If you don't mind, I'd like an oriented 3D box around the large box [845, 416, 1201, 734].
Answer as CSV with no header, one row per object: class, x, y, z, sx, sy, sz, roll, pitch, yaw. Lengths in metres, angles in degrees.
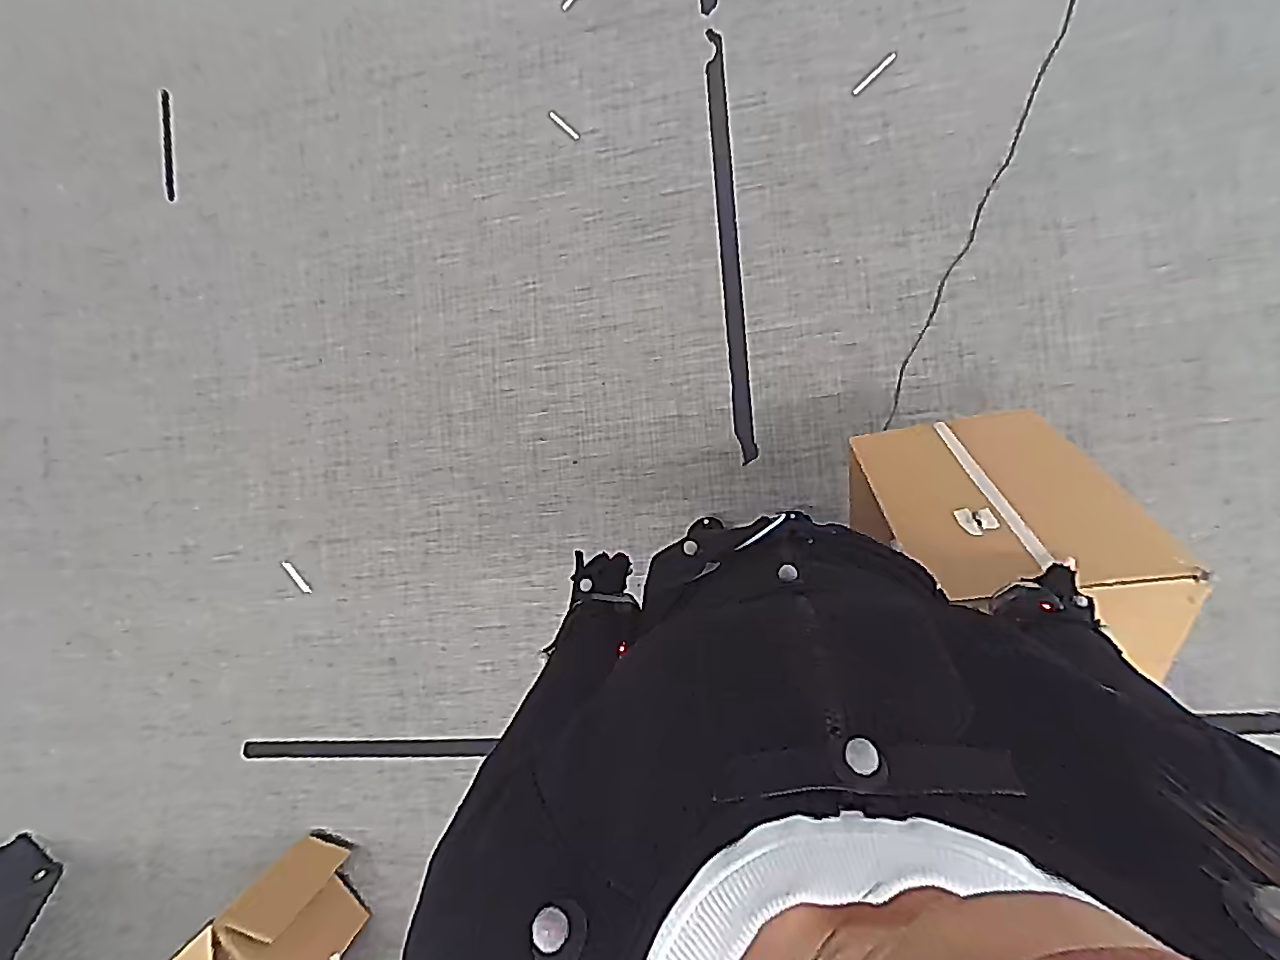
large box,0.549,0.144,0.896,0.320,0.408,0.320,-10,125,12
